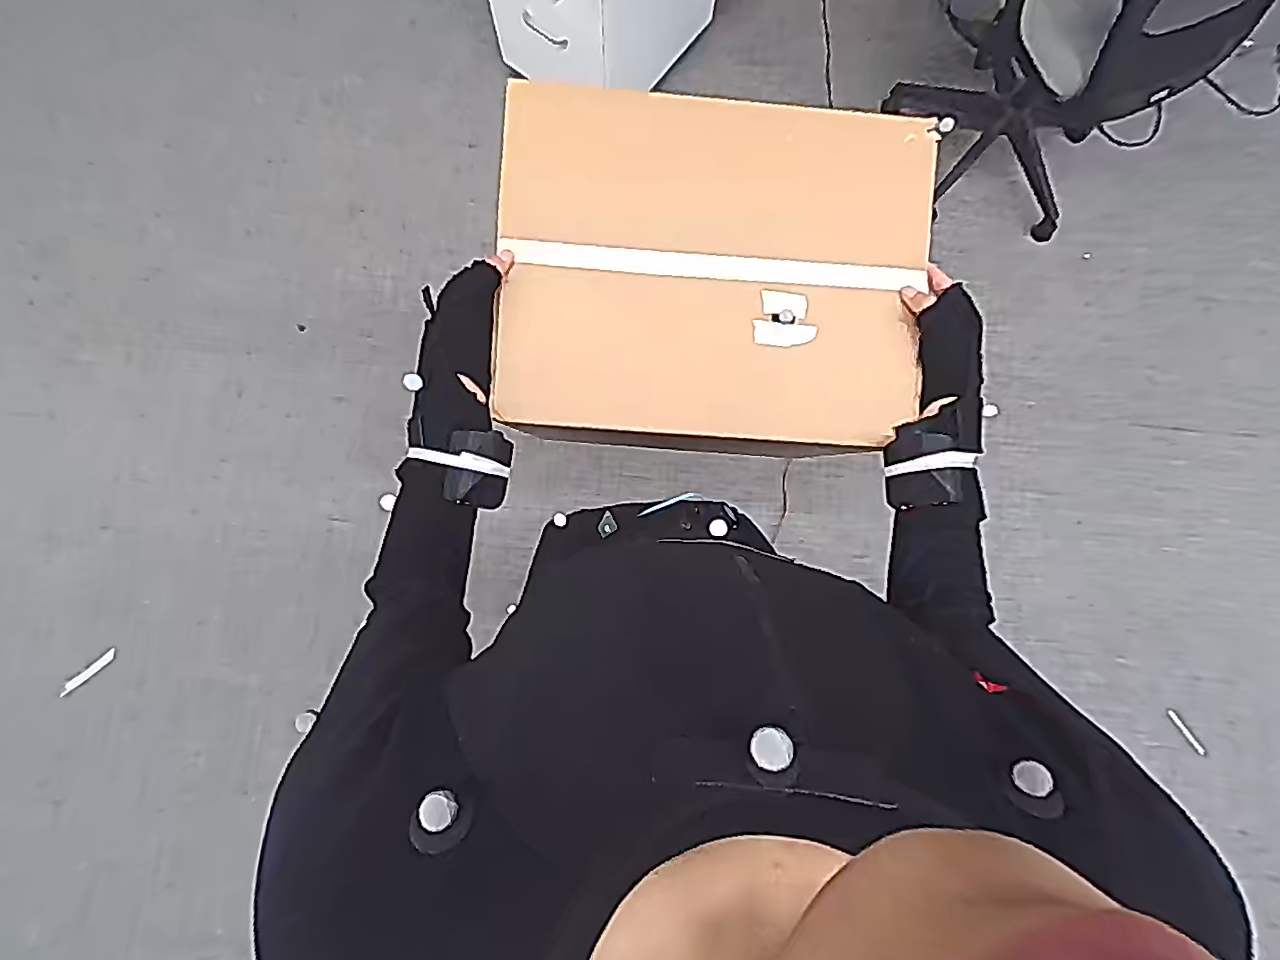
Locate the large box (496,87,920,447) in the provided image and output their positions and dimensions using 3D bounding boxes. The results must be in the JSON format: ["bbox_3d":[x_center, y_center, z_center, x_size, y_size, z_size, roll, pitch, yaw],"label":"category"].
[{"bbox_3d":[0.059,-0.209,0.668,0.408,0.320,0.320,4,92,-3],"label":"large box"}]
